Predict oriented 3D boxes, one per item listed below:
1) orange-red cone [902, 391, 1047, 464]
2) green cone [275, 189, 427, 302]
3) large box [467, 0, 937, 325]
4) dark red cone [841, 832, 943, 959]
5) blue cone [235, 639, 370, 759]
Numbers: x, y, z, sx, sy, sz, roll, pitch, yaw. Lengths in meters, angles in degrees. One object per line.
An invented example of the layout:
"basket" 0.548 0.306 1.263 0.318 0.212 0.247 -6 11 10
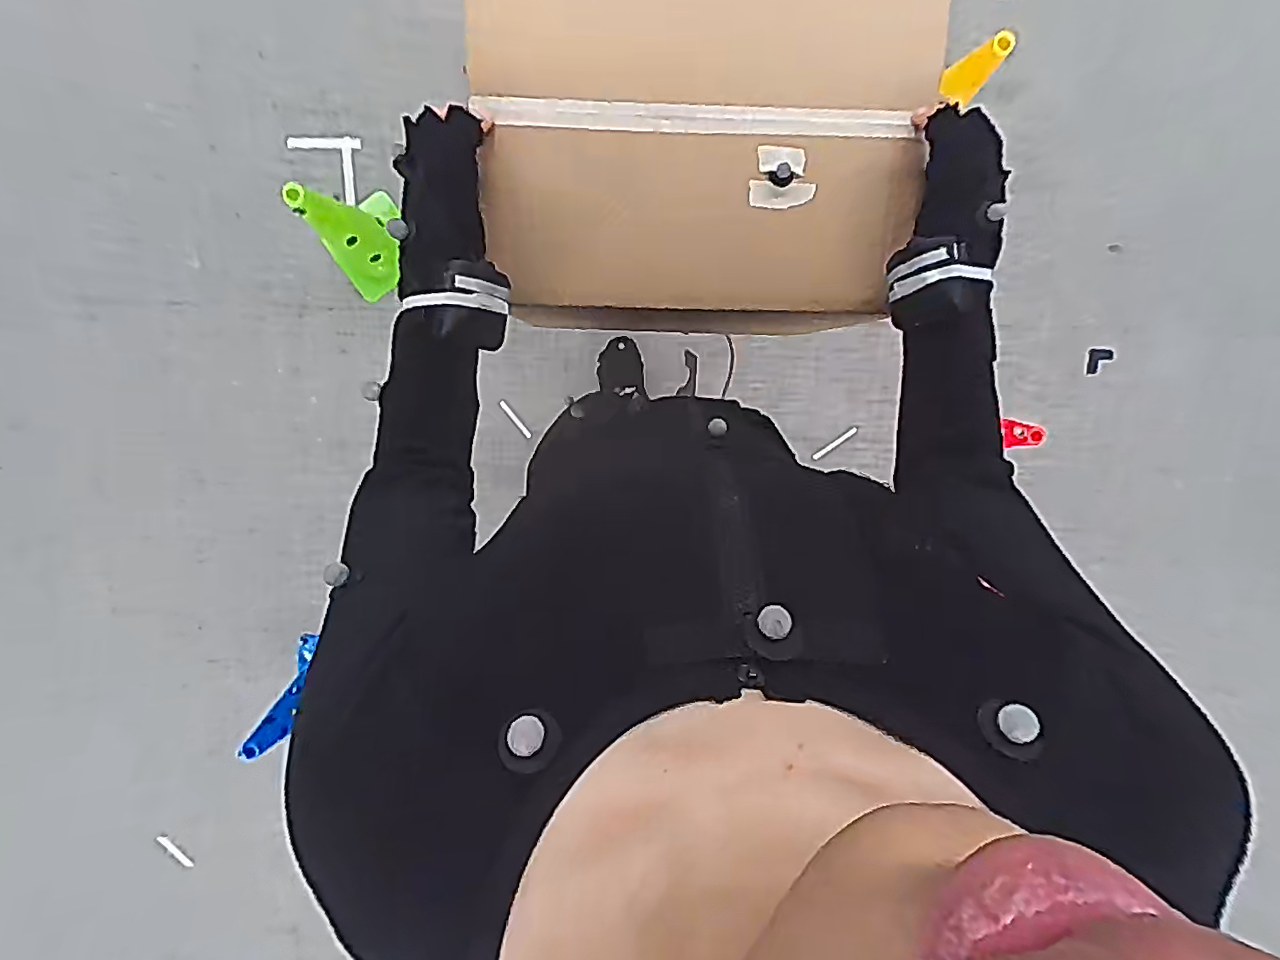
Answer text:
"orange-red cone" 0.818 -0.120 1.297 0.198 0.360 0.199 -1 97 -3
"green cone" -0.654 -0.550 1.170 0.202 0.368 0.200 -36 97 4
"large box" 0.046 -0.350 0.616 0.408 0.320 0.320 1 102 -3
"dark red cone" 0.711 1.167 1.448 0.201 0.394 0.202 7 97 -2
"blue cone" -0.839 0.555 1.334 0.192 0.380 0.193 5 98 -2
